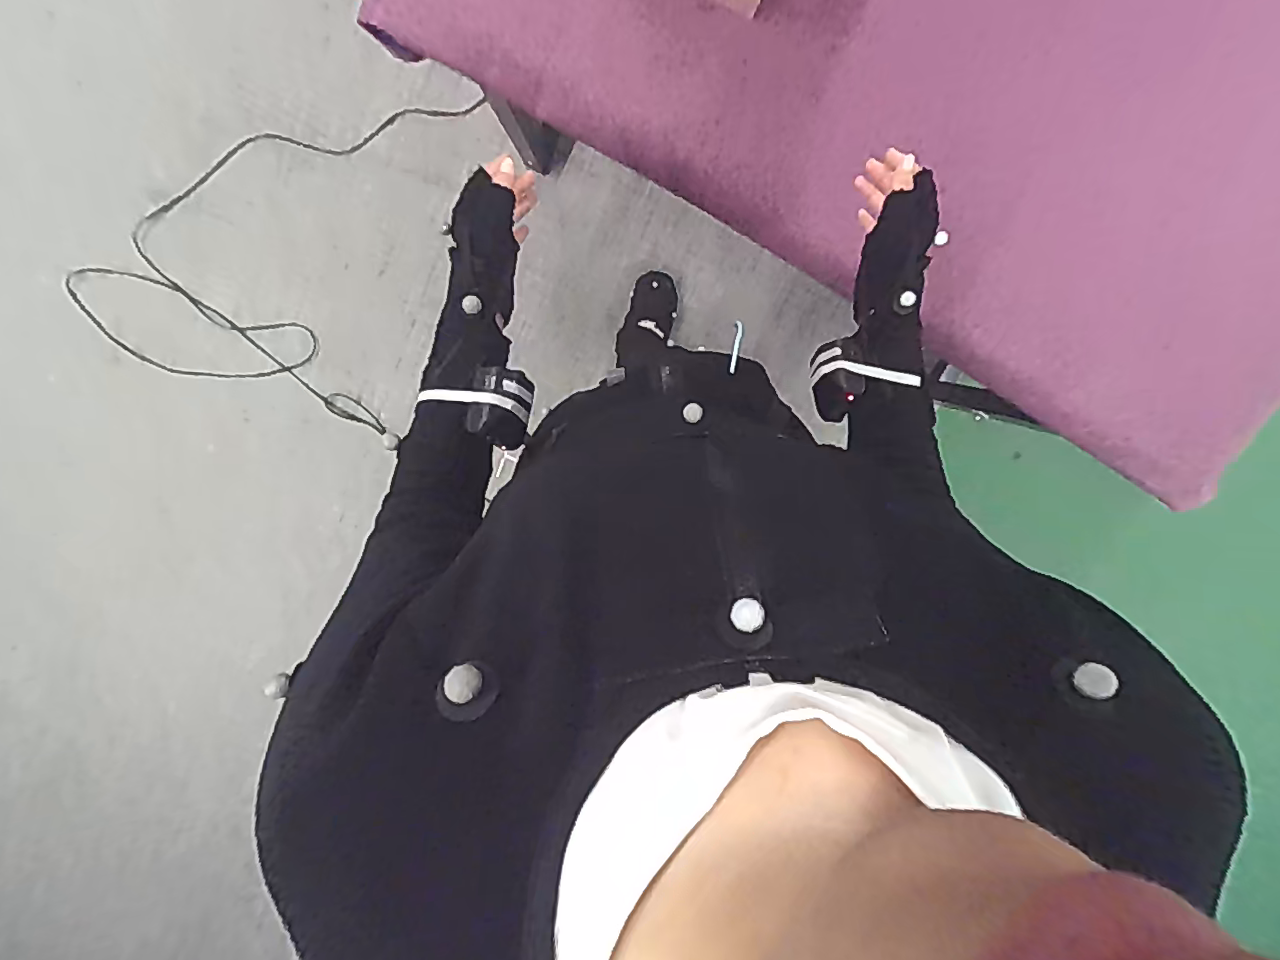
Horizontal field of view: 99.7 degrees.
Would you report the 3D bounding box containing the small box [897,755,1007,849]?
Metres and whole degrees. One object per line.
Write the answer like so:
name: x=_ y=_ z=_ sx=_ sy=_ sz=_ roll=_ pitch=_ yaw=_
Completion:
small box: x=0.865 y=0.918 z=1.521 sx=0.168 sy=0.176 sz=0.179 roll=26 pitch=105 yaw=-8
